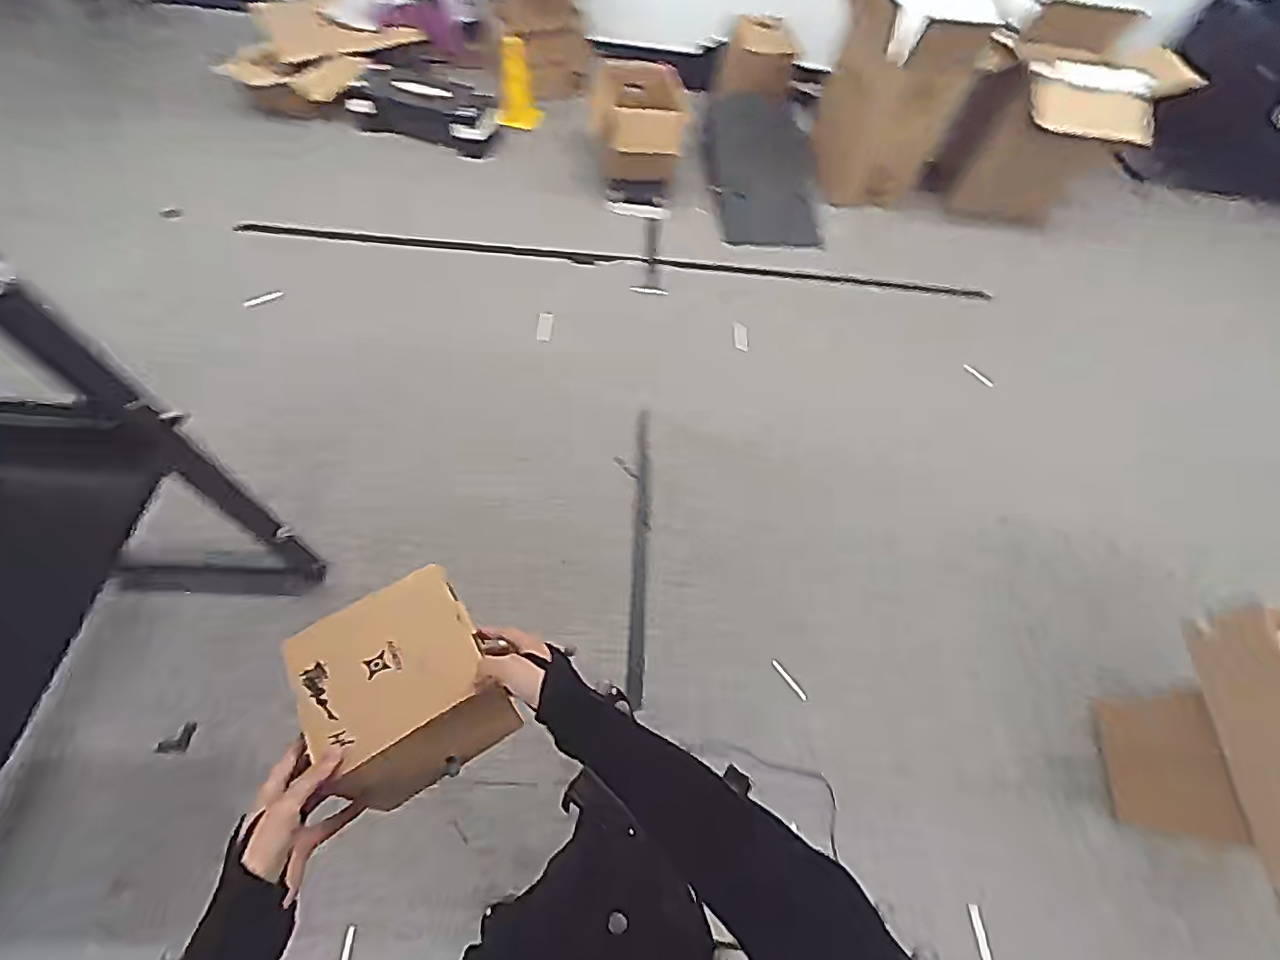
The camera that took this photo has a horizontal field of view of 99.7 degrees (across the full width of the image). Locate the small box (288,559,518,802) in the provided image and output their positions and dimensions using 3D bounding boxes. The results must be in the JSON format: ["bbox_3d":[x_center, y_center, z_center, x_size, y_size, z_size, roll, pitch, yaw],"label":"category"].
[{"bbox_3d":[-0.250,0.226,0.608,0.179,0.176,0.168,-27,56,-19],"label":"small box"}]
